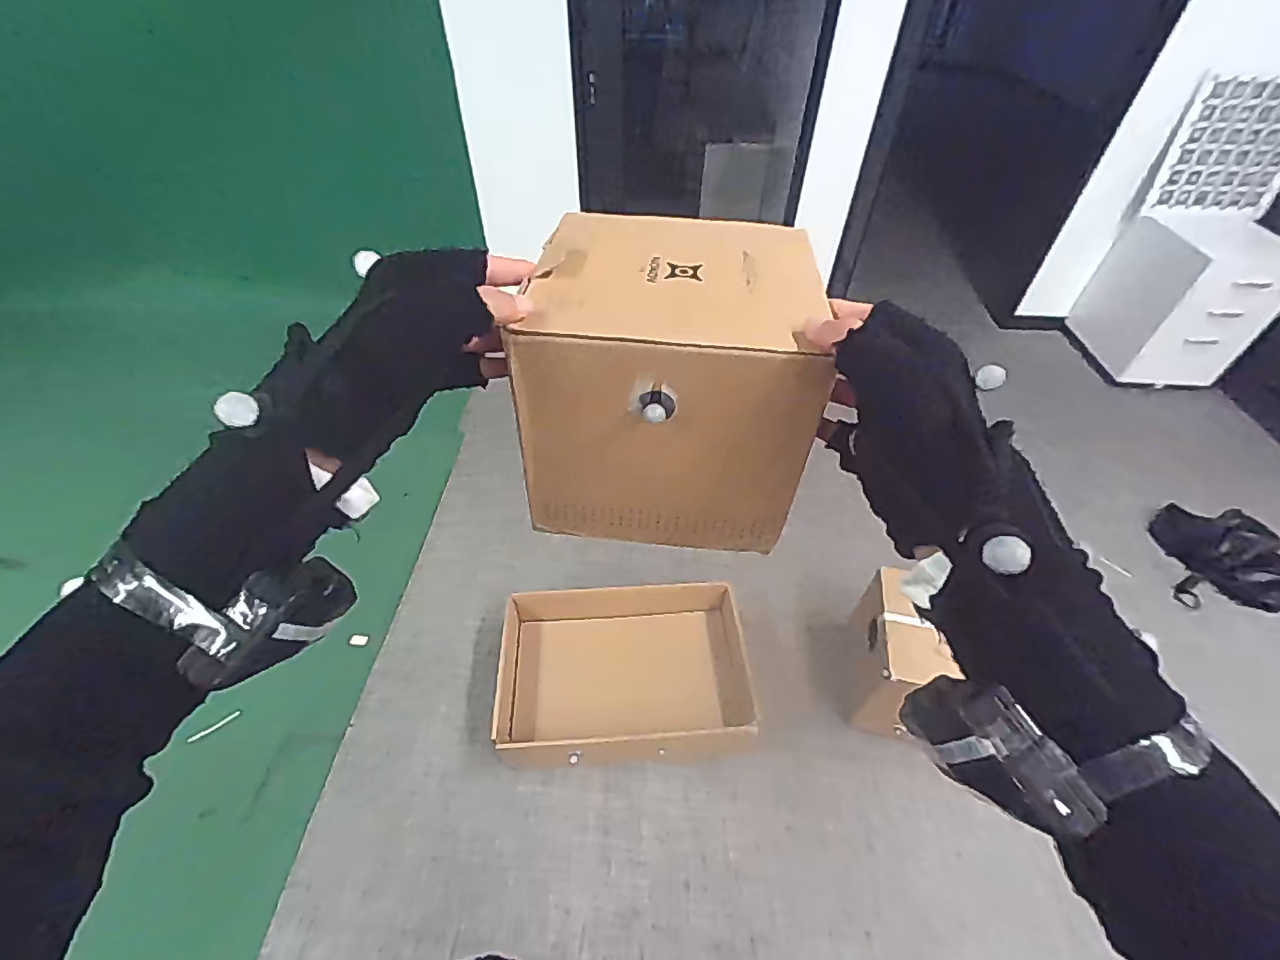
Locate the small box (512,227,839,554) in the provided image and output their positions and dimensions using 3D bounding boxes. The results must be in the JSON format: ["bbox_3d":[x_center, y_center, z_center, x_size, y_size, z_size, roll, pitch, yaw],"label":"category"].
[{"bbox_3d":[0.022,-0.063,0.393,0.179,0.176,0.168,6,45,2],"label":"small box"}]
